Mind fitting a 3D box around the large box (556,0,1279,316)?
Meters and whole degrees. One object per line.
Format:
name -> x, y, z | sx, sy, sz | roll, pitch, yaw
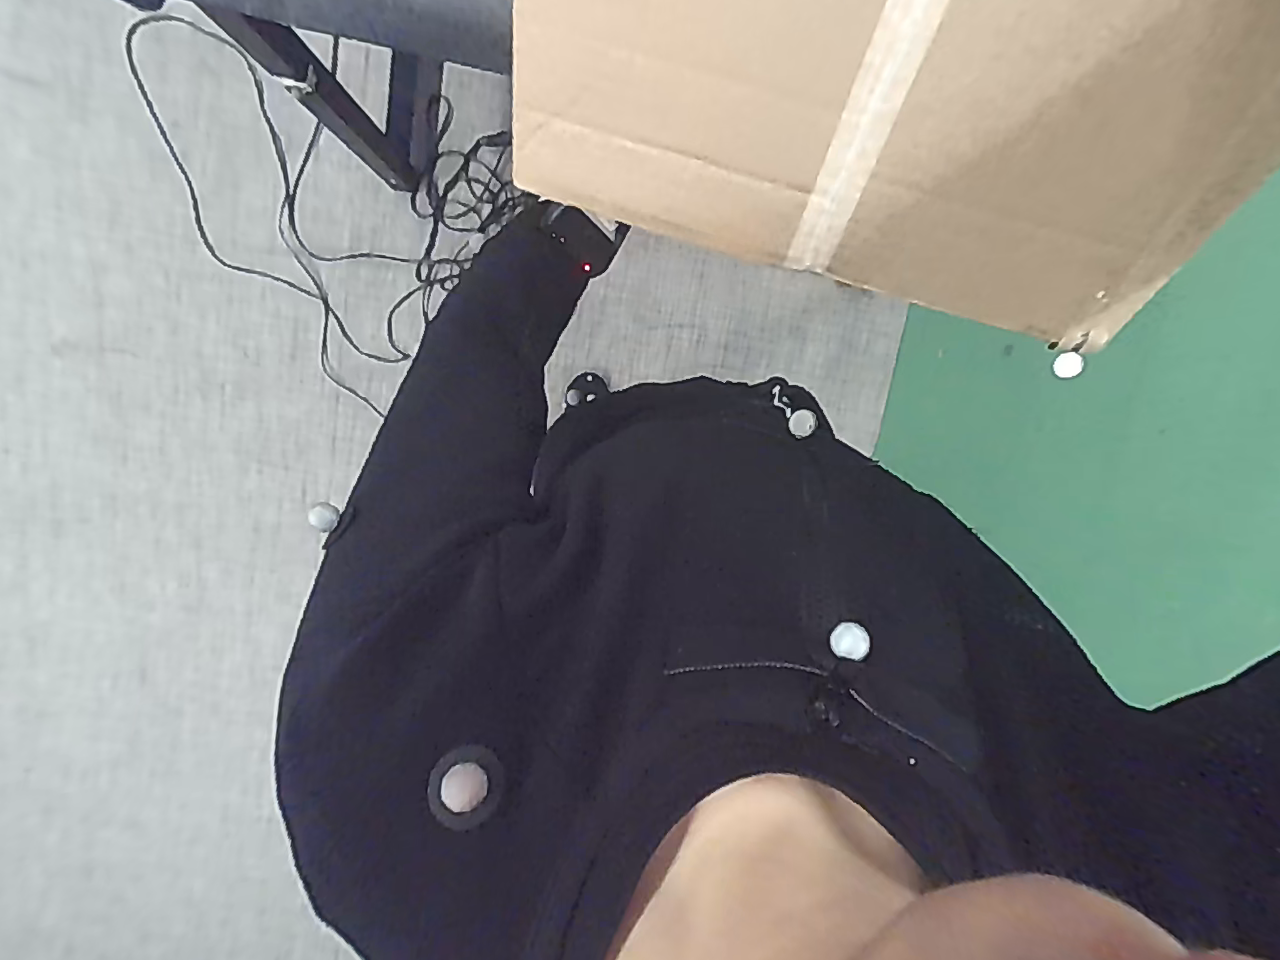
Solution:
large box -> 0.160, -0.360, 0.242 | 0.320, 0.320, 0.408 | 16, 140, 2
